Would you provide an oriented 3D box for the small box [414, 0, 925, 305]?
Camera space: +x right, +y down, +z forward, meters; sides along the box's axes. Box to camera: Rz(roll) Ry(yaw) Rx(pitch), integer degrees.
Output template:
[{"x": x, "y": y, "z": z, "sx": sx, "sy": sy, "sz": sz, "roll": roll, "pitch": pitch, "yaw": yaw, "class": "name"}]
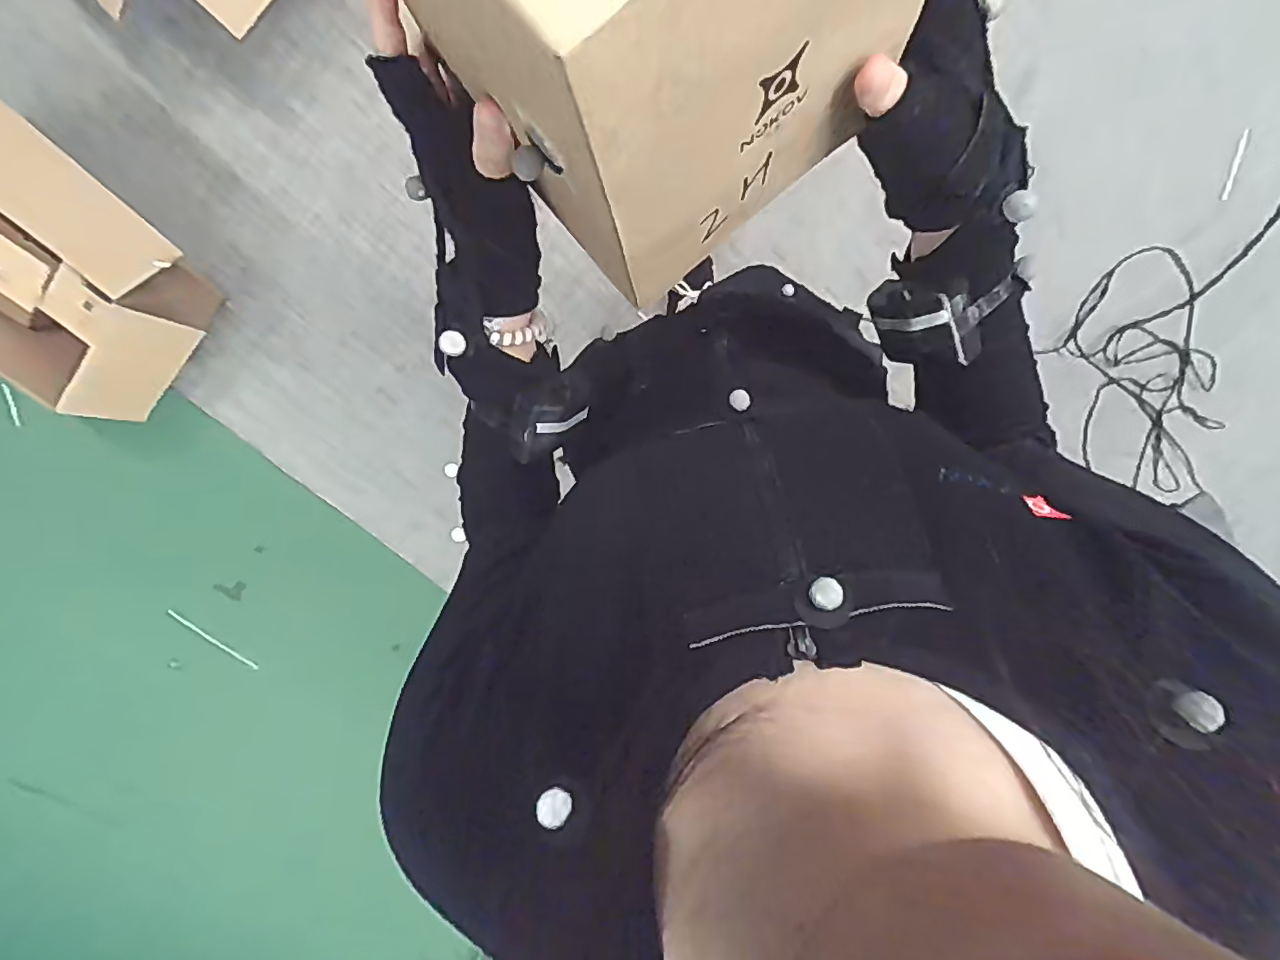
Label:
[{"x": 0.003, "y": -0.216, "z": 0.223, "sx": 0.168, "sy": 0.179, "sz": 0.176, "roll": -39, "pitch": 82, "yaw": 2, "class": "small box"}]
